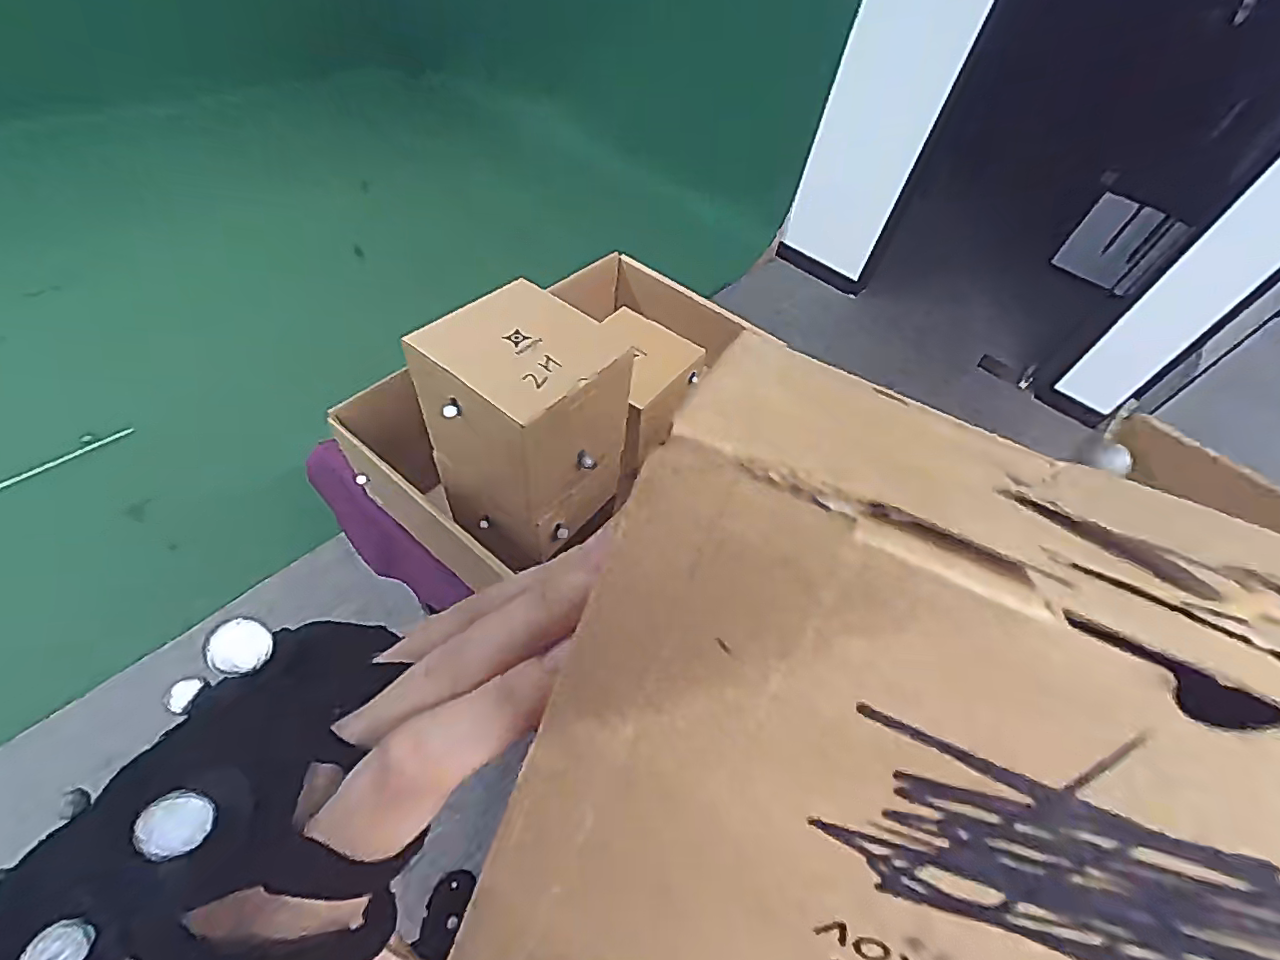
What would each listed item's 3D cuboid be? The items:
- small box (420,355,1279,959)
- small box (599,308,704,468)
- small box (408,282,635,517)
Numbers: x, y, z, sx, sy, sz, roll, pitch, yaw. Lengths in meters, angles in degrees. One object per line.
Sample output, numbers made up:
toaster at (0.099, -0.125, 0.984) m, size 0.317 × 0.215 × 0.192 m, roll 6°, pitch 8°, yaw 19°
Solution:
small box at (0.060, 0.072, 0.184) m, size 0.168 × 0.179 × 0.176 m, roll 24°, pitch 24°, yaw 6°
small box at (-0.019, -0.143, 0.887) m, size 0.168 × 0.176 × 0.179 m, roll 33°, pitch 56°, yaw 18°
small box at (-0.129, -0.090, 0.622) m, size 0.179 × 0.176 × 0.168 m, roll 36°, pitch 57°, yaw 19°
